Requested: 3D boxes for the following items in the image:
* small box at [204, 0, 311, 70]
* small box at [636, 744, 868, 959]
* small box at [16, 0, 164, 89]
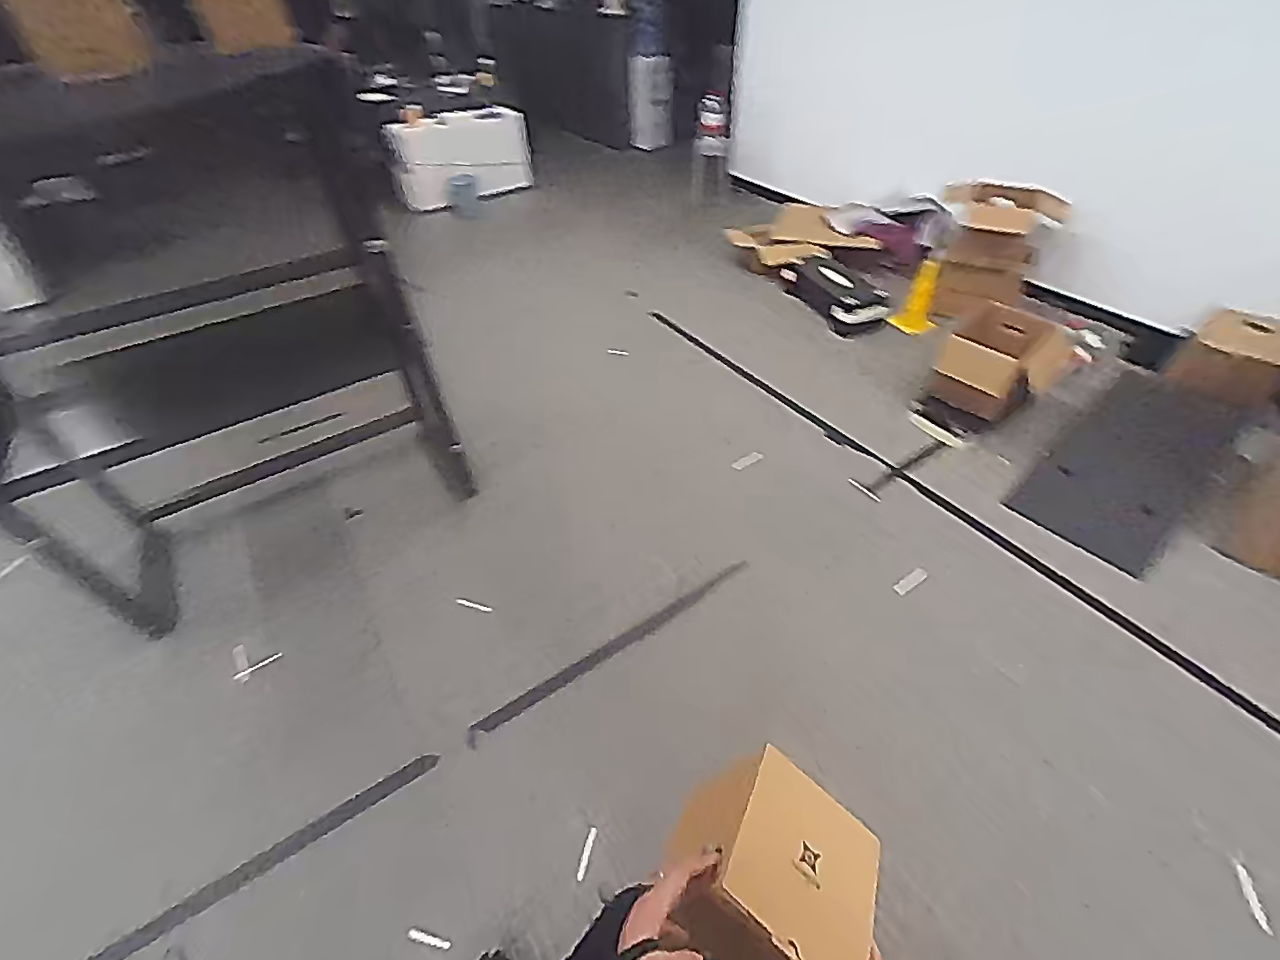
[{"bbox_3d":[-0.893,-1.067,1.254,0.168,0.176,0.179,-24,48,-19],"label":"small box"},{"bbox_3d":[0.122,0.442,0.595,0.168,0.176,0.179,39,35,6],"label":"small box"},{"bbox_3d":[-1.145,-0.935,1.133,0.168,0.176,0.179,-25,47,-20],"label":"small box"}]
